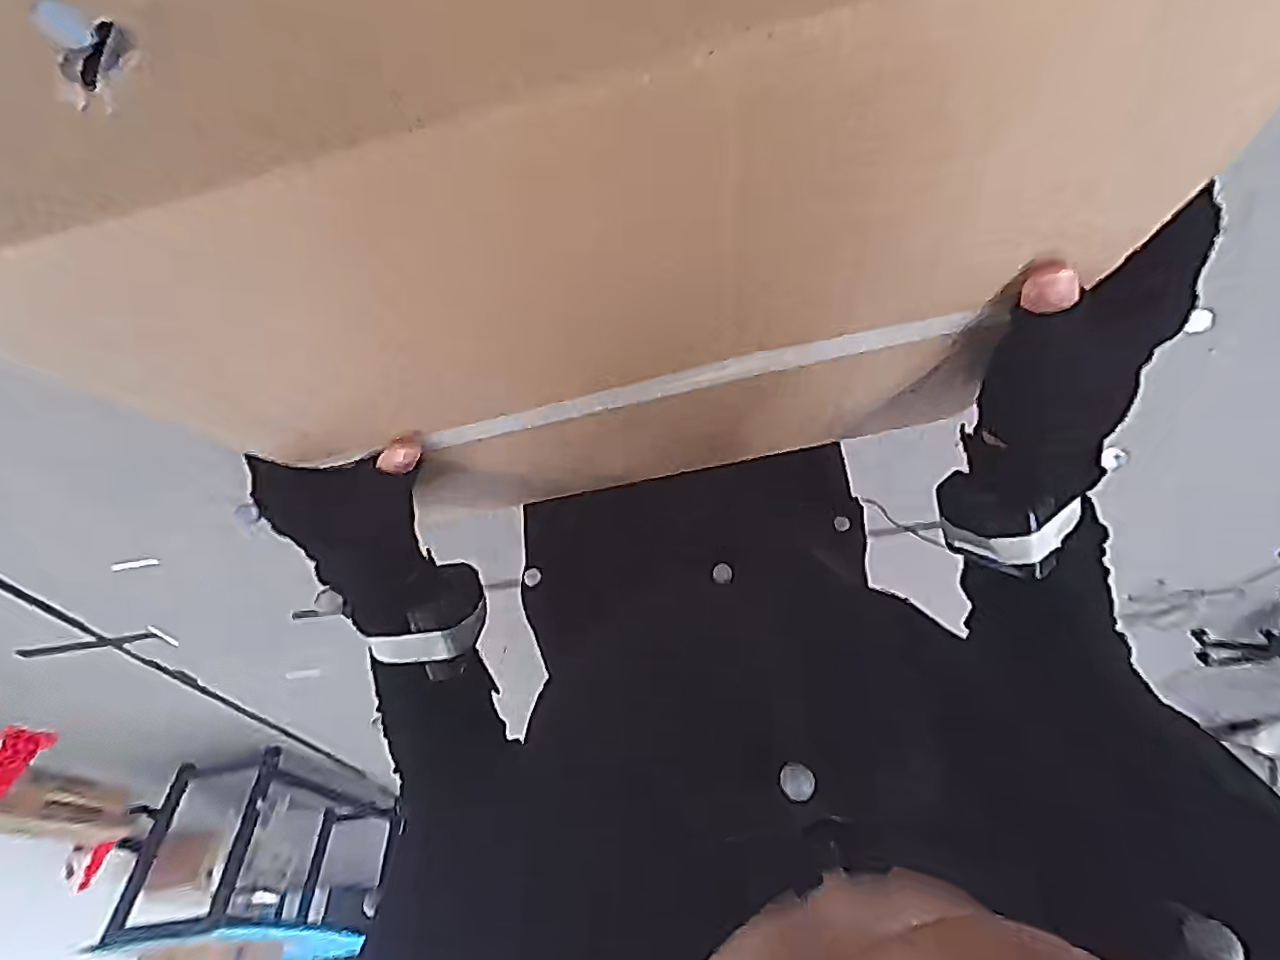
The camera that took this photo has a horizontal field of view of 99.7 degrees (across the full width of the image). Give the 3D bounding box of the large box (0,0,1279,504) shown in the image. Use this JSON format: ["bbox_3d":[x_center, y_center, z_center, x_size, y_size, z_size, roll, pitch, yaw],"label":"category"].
[{"bbox_3d":[-0.017,-0.203,0.328,0.408,0.320,0.320,-11,163,5],"label":"large box"}]
